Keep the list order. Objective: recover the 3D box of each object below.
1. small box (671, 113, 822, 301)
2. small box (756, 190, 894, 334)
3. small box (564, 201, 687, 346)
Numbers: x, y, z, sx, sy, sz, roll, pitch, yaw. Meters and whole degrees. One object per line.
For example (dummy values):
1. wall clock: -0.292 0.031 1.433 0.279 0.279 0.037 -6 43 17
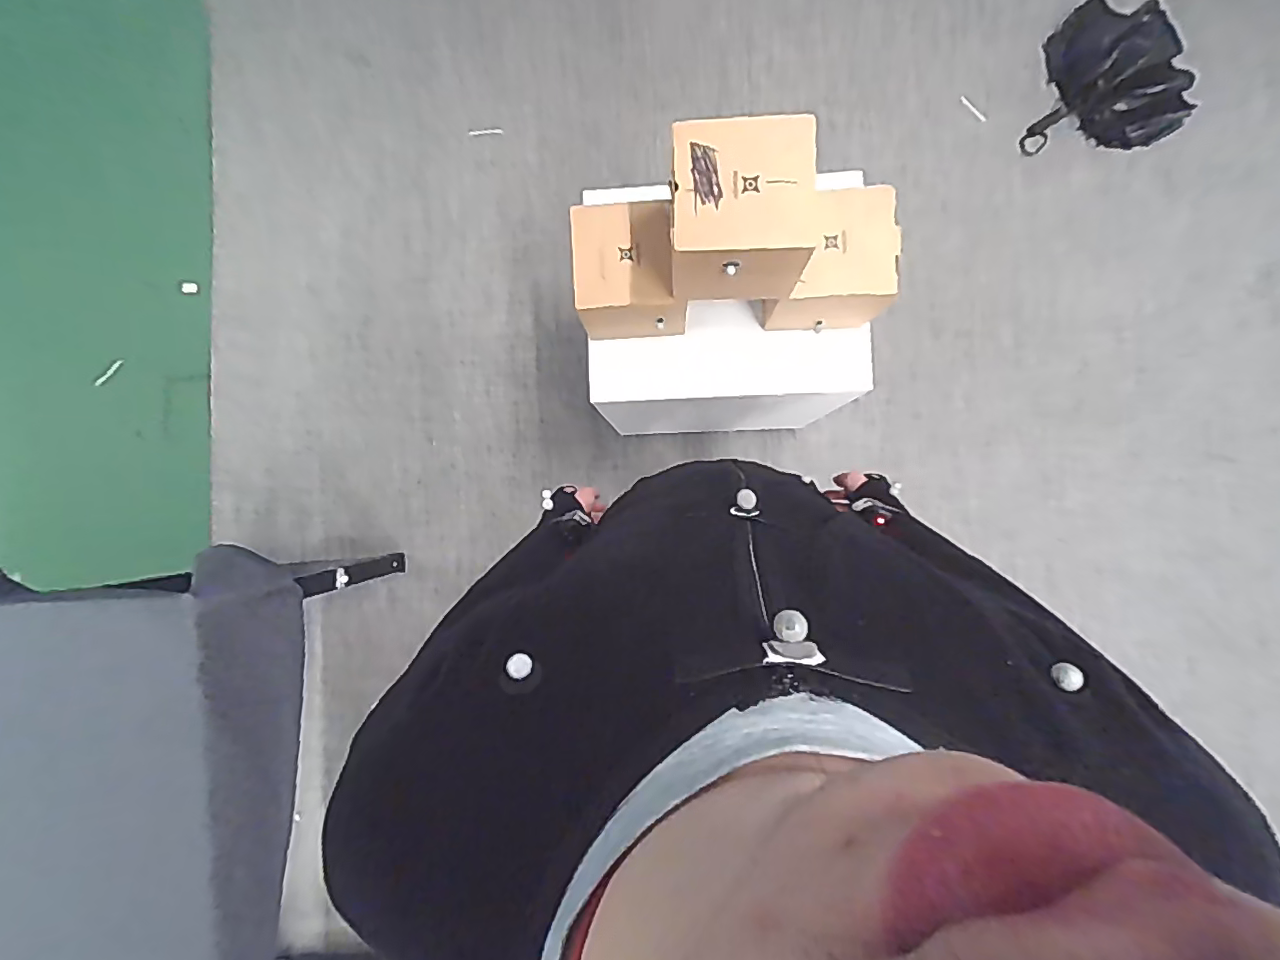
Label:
1. small box: 0.129 -0.349 0.720 0.179 0.176 0.168 -1 88 1
2. small box: 0.290 -0.344 0.881 0.179 0.176 0.168 -2 88 3
3. small box: -0.022 -0.328 0.887 0.179 0.176 0.168 -5 86 1
